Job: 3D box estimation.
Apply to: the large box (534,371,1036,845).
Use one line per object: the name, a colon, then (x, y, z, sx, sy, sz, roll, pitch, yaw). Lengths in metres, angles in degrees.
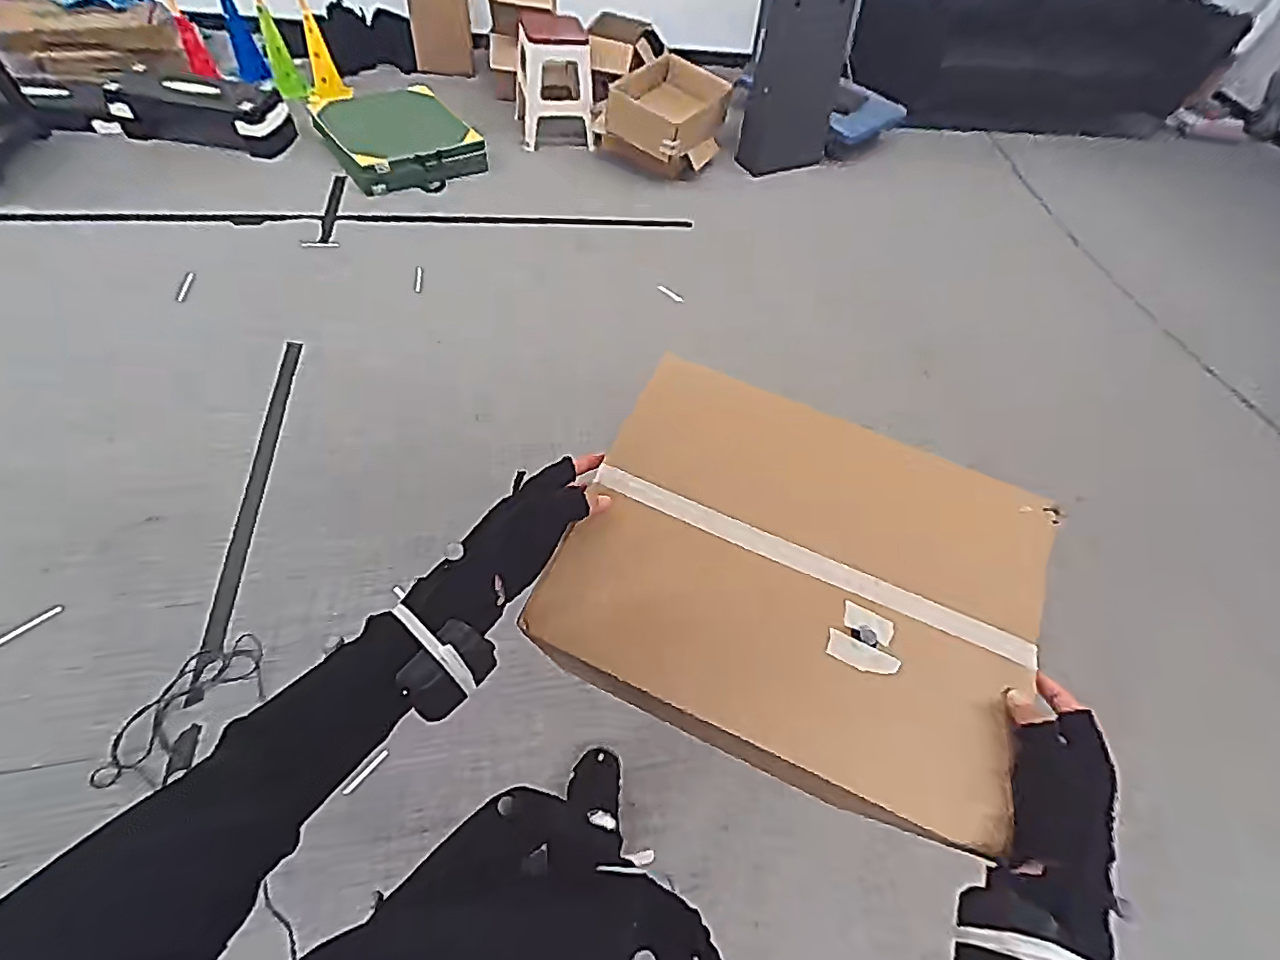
large box: (0.139, 0.141, 0.630, 0.408, 0.320, 0.320, 24, 67, 8)
